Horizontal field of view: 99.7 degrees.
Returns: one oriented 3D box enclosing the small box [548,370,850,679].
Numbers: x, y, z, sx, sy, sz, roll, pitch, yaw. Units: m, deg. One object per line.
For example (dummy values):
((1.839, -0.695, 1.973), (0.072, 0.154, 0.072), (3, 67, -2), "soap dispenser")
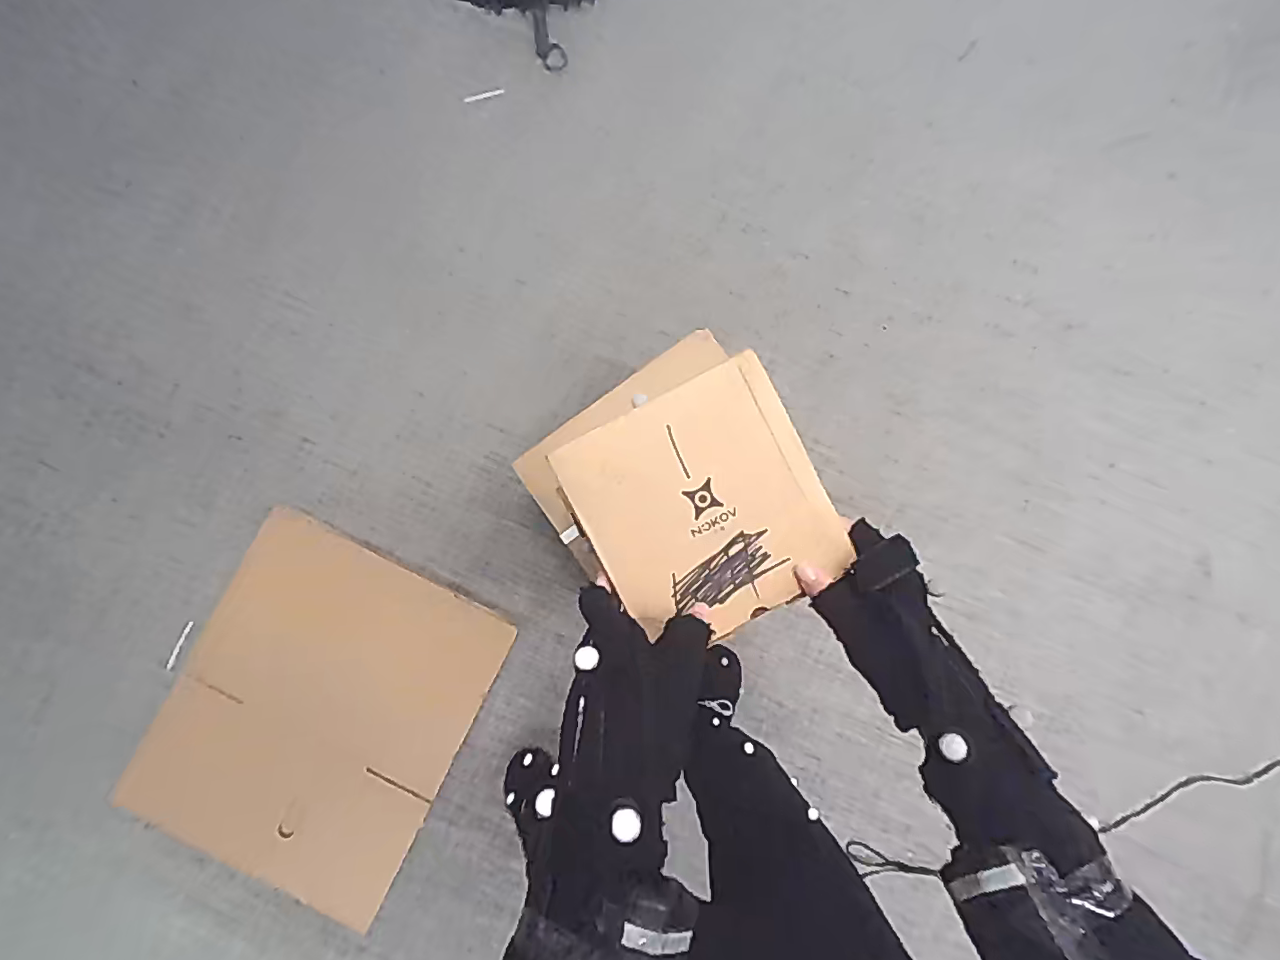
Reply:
((0.041, 0.031, 0.467), (0.168, 0.176, 0.179), (-28, 91, -3), "small box")
